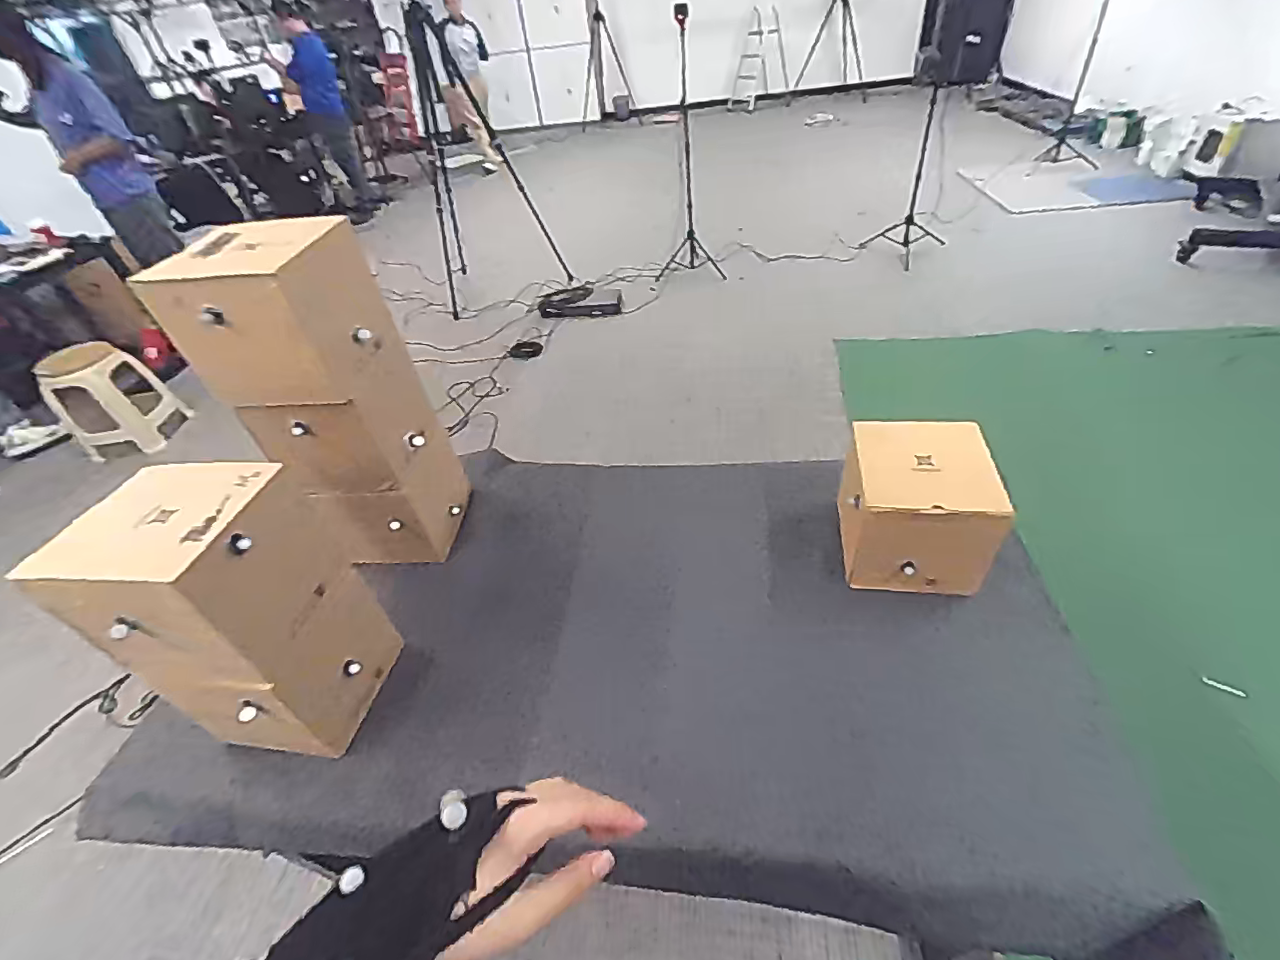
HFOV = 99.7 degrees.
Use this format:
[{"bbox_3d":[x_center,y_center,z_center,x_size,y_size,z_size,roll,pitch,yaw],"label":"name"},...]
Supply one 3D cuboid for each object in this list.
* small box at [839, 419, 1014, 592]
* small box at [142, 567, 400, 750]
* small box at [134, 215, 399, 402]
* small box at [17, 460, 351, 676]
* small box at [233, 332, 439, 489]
[{"bbox_3d":[0.383,0.033,0.763,0.168,0.176,0.179,2,45,11],"label":"small box"},{"bbox_3d":[-0.442,0.221,0.687,0.179,0.176,0.168,2,41,11],"label":"small box"},{"bbox_3d":[-0.441,-0.210,0.676,0.179,0.176,0.168,0,45,7],"label":"small box"},{"bbox_3d":[-0.461,0.095,0.584,0.179,0.176,0.168,-1,41,8],"label":"small box"},{"bbox_3d":[-0.427,-0.098,0.795,0.179,0.176,0.168,-1,45,5],"label":"small box"}]
